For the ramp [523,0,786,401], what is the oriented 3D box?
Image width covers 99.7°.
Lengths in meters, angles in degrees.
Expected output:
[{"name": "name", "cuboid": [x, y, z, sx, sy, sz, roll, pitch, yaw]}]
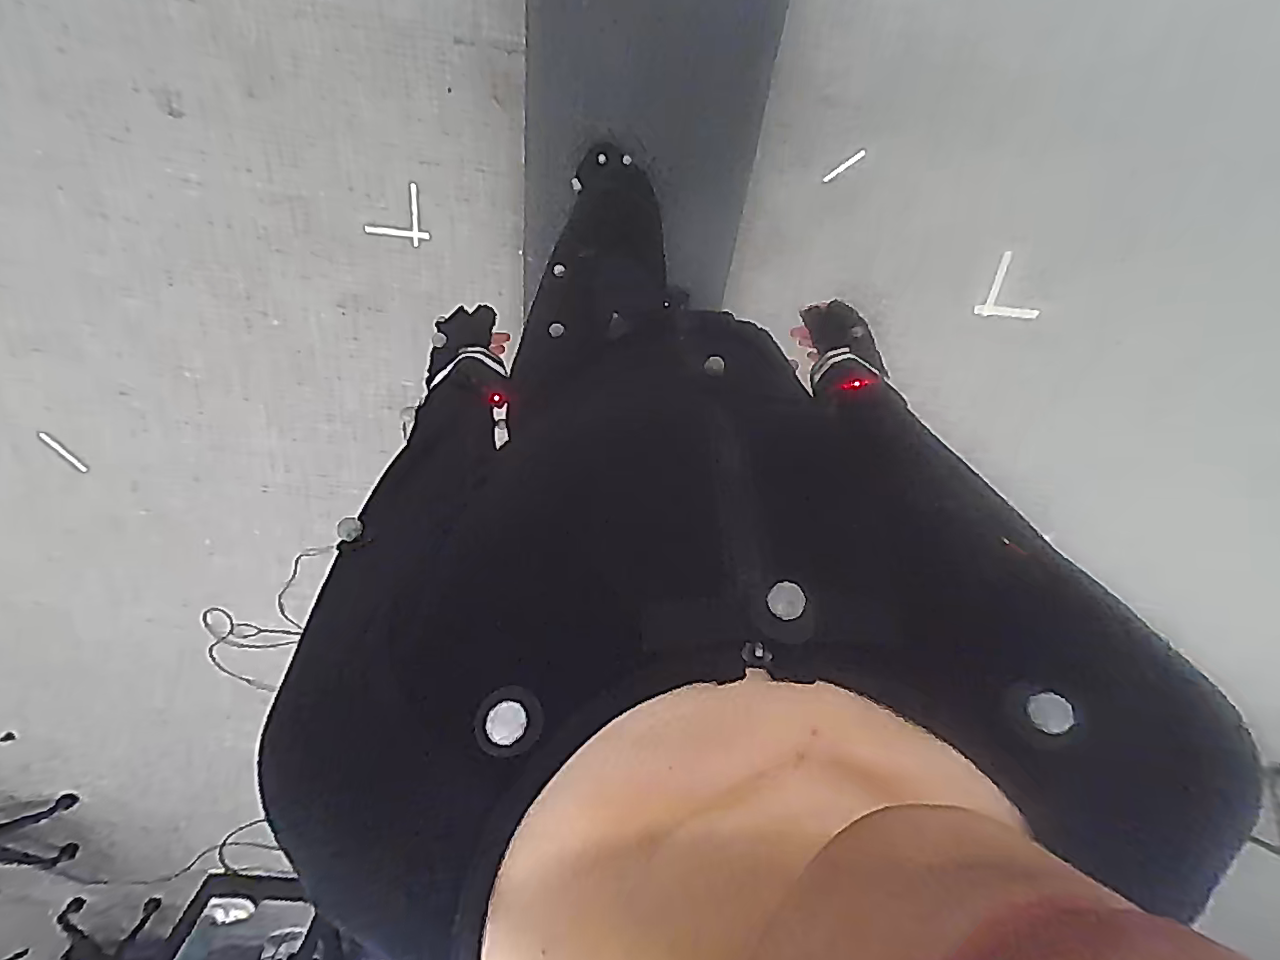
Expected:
[{"name": "ramp", "cuboid": [-0.012, -0.642, 1.198, 0.509, 0.206, 0.991, 4, 116, -4]}]
